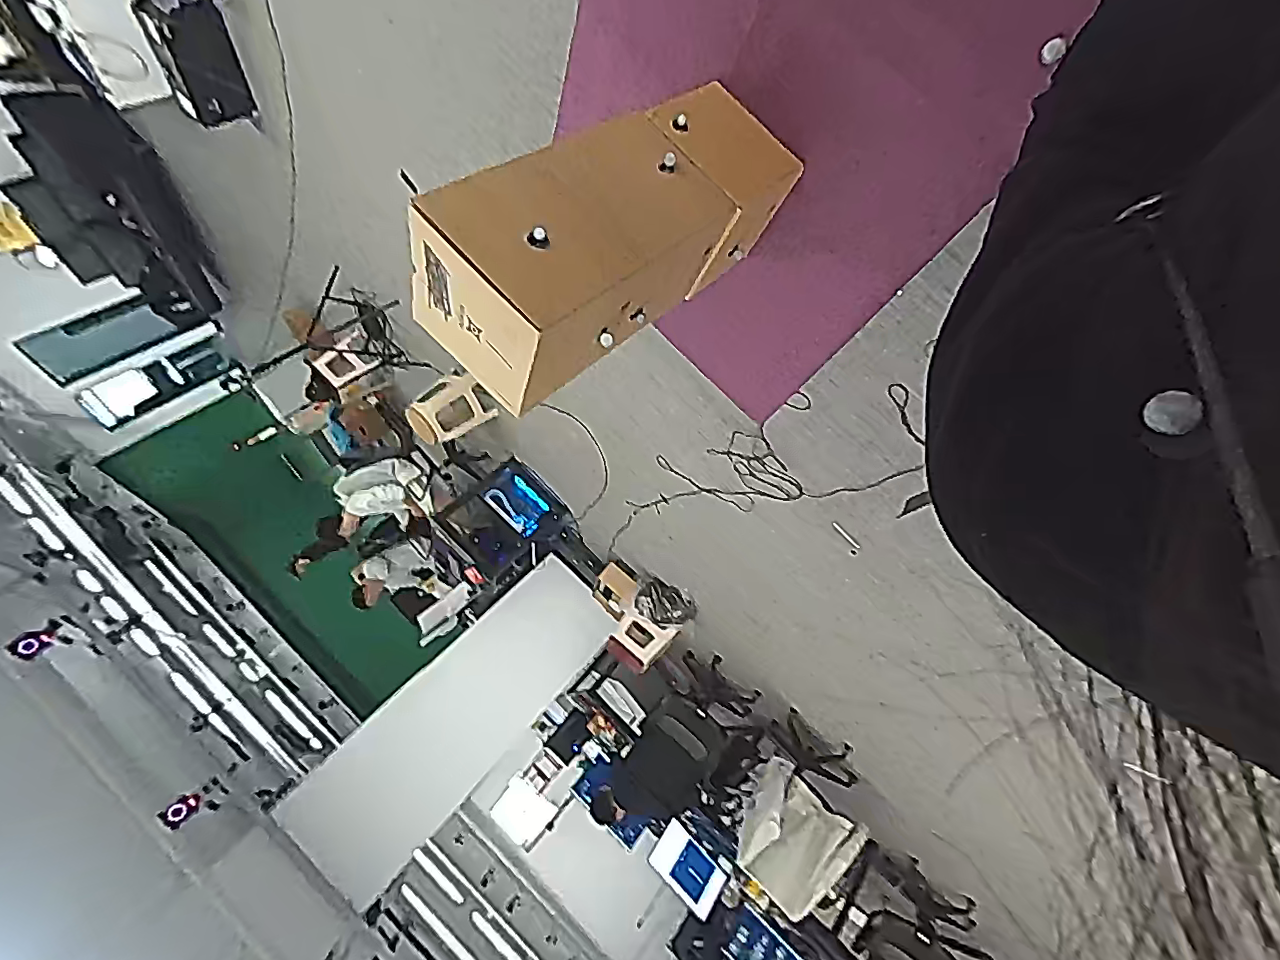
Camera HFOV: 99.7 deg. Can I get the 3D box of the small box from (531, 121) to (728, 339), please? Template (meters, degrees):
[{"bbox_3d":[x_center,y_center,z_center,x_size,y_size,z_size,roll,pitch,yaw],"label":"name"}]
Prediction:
[{"bbox_3d":[-0.027,-0.311,0.676,0.179,0.176,0.168,46,151,3],"label":"small box"}]

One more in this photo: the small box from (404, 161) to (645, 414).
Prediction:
[{"bbox_3d":[-0.128,-0.212,0.591,0.179,0.176,0.168,45,150,2],"label":"small box"}]

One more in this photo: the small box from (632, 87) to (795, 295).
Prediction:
[{"bbox_3d":[0.081,-0.405,0.757,0.179,0.176,0.168,45,150,3],"label":"small box"}]
